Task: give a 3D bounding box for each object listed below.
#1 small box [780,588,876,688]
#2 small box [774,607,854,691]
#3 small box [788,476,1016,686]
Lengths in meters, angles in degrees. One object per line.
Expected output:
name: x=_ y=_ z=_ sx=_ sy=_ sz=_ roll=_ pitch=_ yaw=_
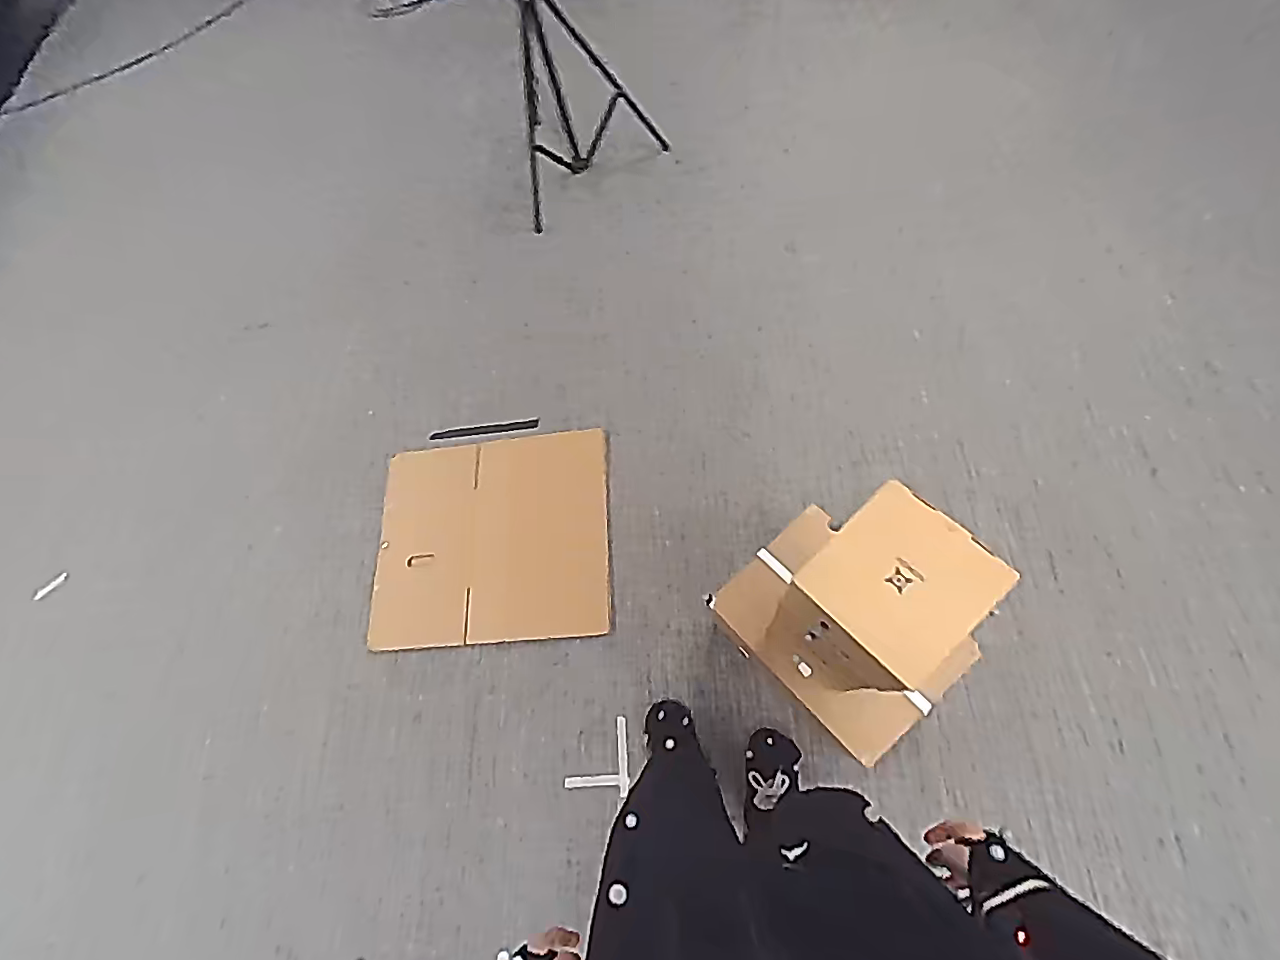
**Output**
small box: x=0.328 y=0.189 z=0.815 sx=0.179 sy=0.176 sz=0.168 roll=-42 pitch=66 yaw=-8
small box: x=0.354 y=0.251 z=0.965 sx=0.179 sy=0.176 sz=0.168 roll=-43 pitch=67 yaw=-7
small box: x=0.300 y=0.133 z=0.664 sx=0.179 sy=0.176 sz=0.168 roll=-43 pitch=67 yaw=-8
